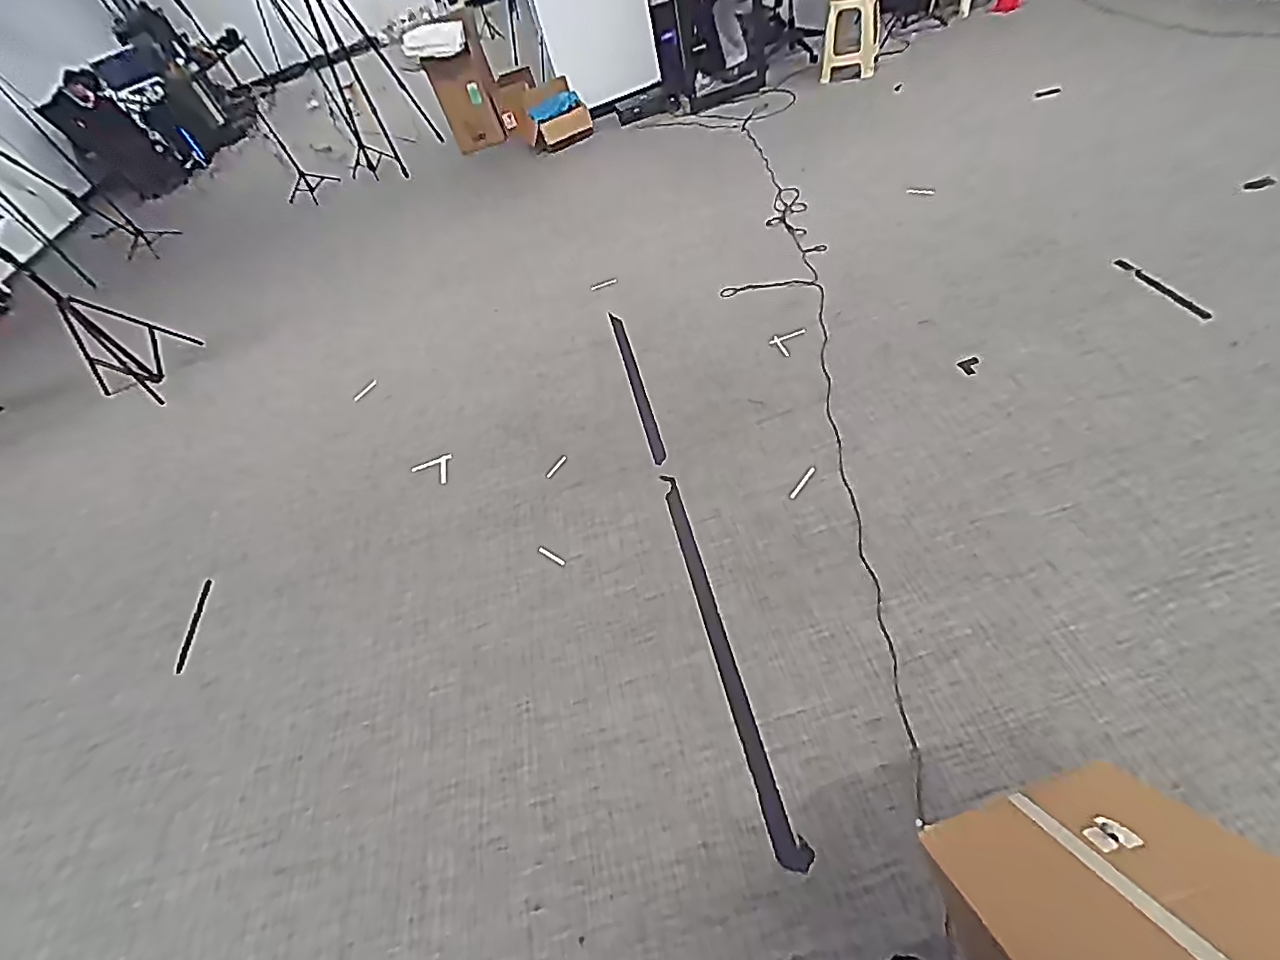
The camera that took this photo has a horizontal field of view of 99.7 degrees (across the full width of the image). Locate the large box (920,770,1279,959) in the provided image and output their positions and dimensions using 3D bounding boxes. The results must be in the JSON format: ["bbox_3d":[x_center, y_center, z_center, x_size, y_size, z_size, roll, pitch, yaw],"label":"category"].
[{"bbox_3d":[0.615,0.619,0.614,0.320,0.408,0.320,-20,85,1],"label":"large box"}]
